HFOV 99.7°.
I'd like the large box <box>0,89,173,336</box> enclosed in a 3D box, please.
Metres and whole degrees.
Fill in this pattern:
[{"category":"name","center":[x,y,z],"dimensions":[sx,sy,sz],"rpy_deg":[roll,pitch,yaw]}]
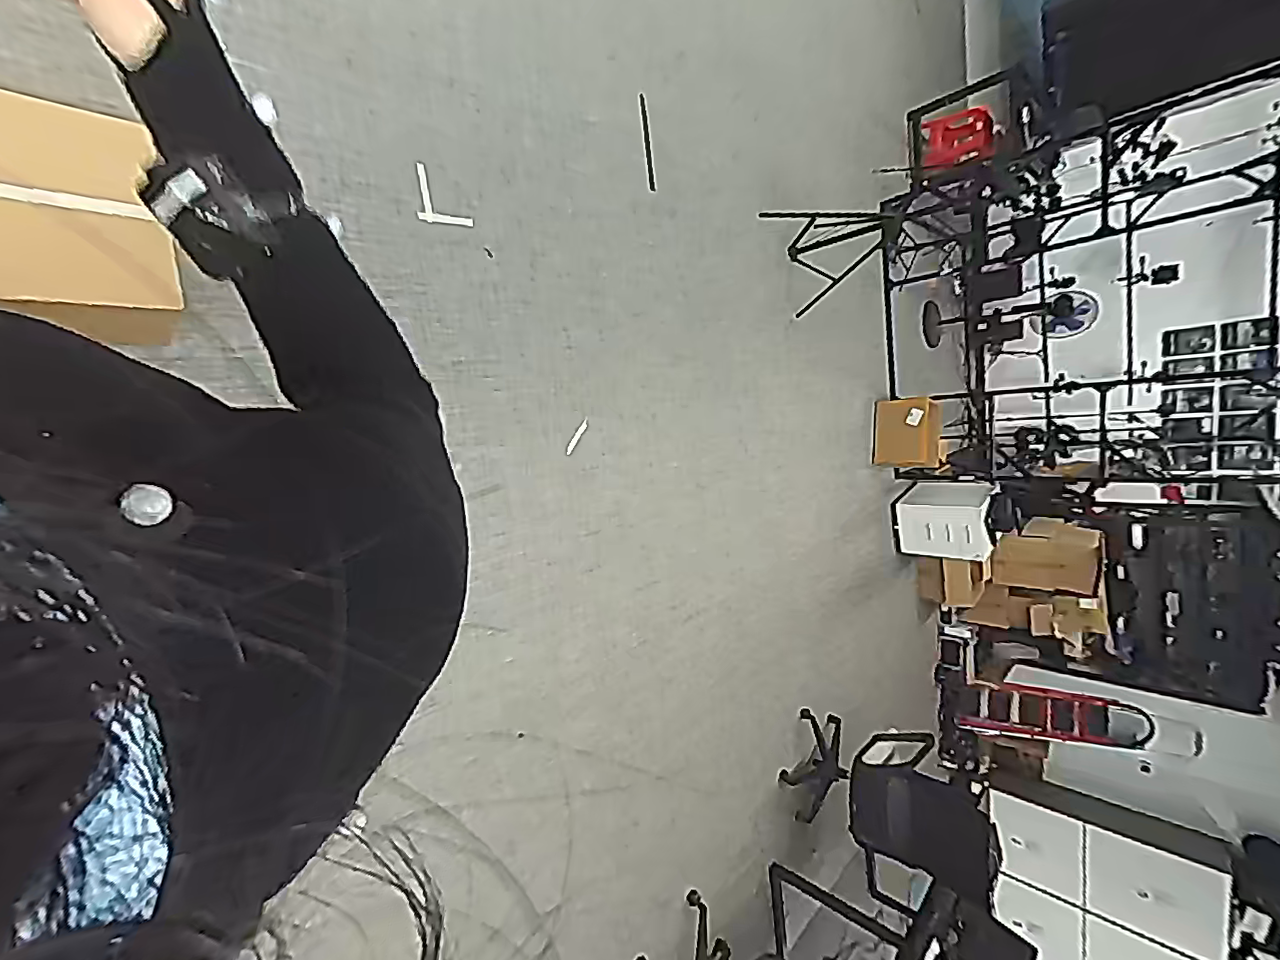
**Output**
[{"category":"large box","center":[-1.074,-0.423,0.891],"dimensions":[0.408,0.320,0.320],"rpy_deg":[-12,96,-45]}]
